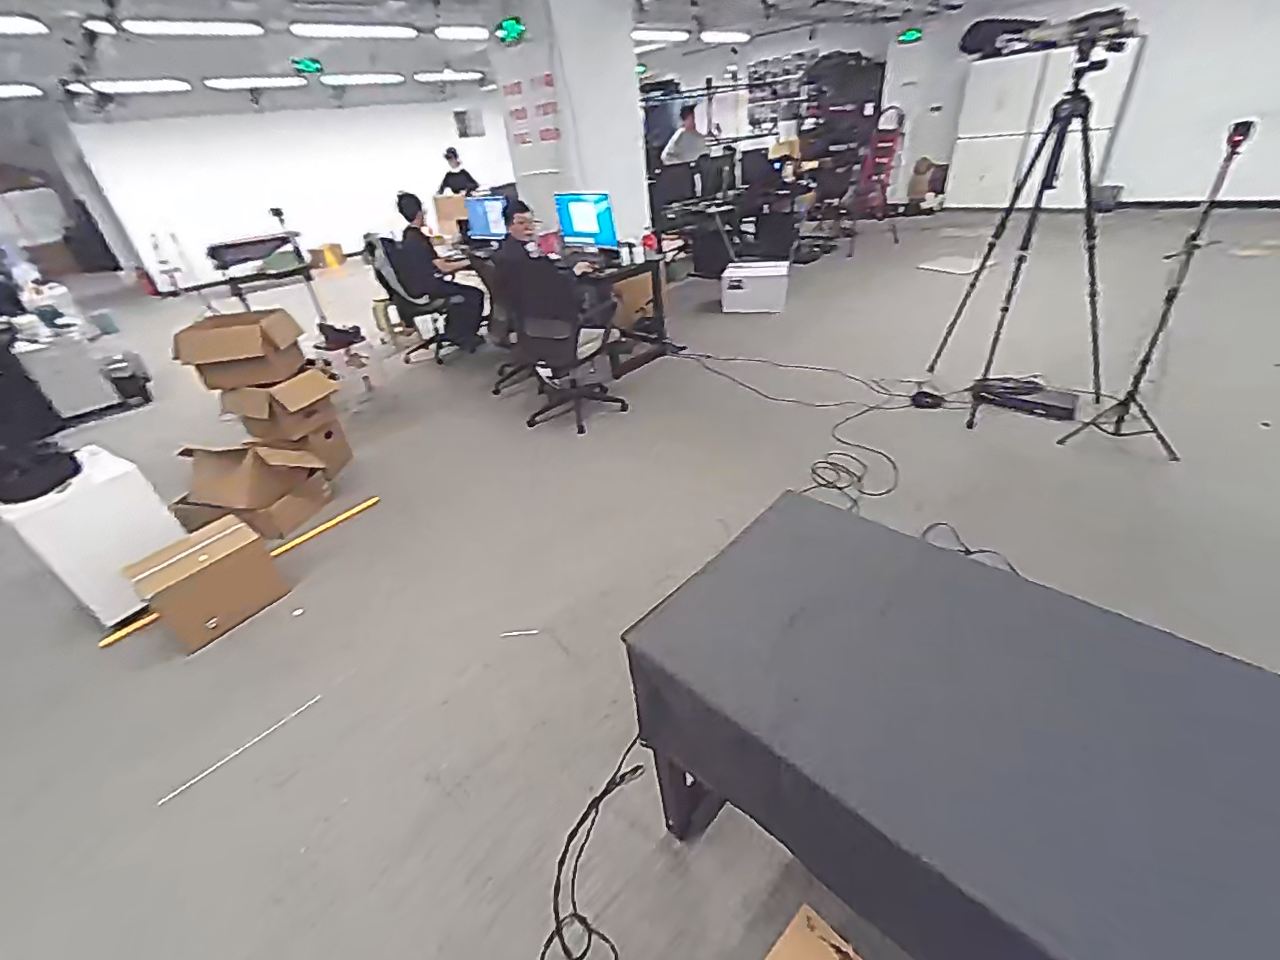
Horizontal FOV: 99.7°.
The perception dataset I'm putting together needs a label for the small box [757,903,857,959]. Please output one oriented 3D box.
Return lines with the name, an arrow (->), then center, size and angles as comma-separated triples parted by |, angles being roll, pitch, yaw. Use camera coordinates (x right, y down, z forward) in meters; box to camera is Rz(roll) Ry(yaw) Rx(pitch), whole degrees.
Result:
small box -> 0.325, 0.994, 1.049 | 0.179, 0.176, 0.168 | -29, 38, -31
